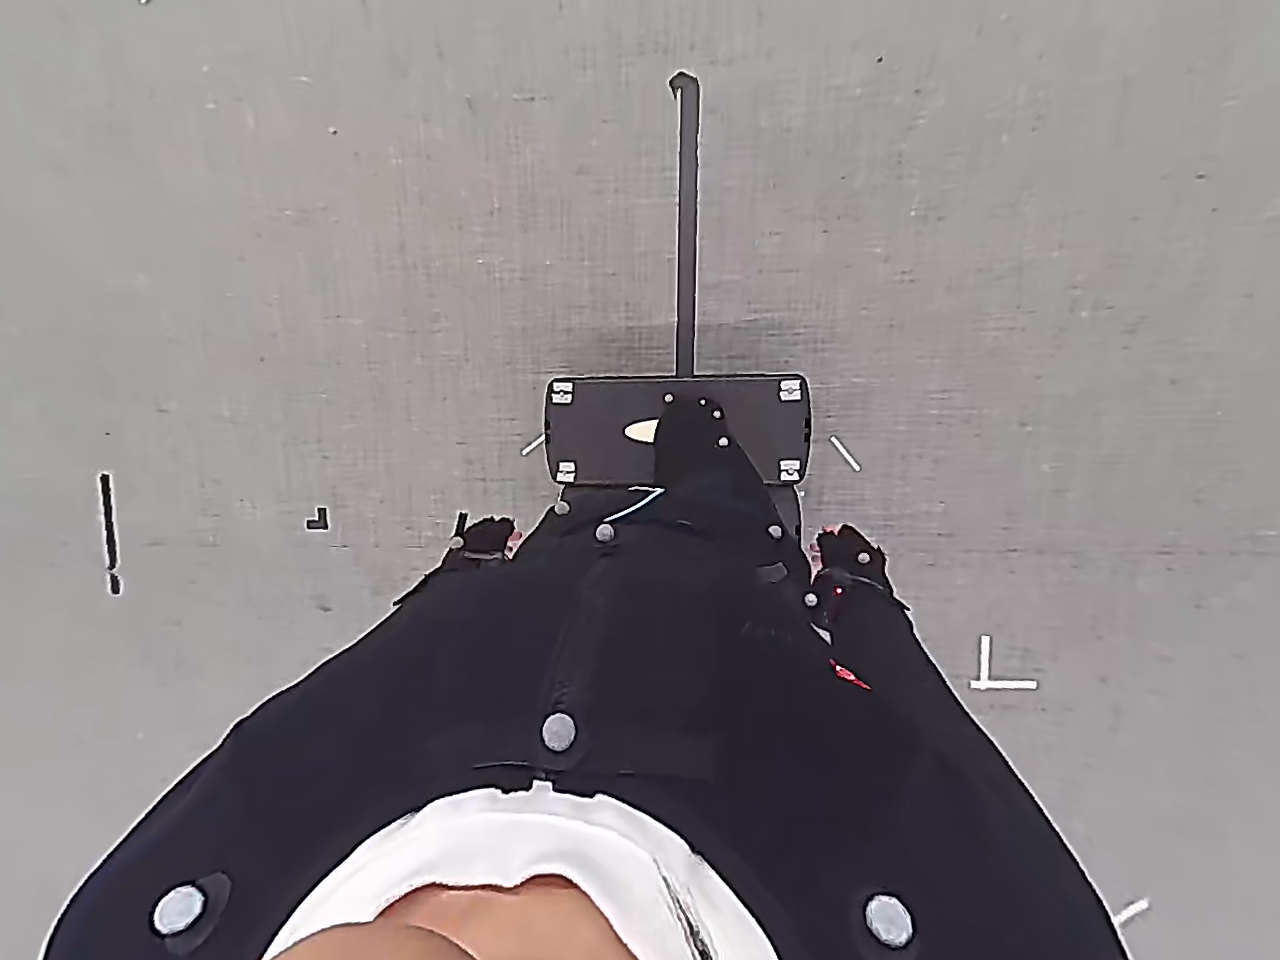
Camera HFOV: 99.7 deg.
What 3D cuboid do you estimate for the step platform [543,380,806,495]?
[{"bbox_3d":[0.087,-0.113,1.442,0.684,0.204,0.286,-1,98,5],"label":"step platform"}]
